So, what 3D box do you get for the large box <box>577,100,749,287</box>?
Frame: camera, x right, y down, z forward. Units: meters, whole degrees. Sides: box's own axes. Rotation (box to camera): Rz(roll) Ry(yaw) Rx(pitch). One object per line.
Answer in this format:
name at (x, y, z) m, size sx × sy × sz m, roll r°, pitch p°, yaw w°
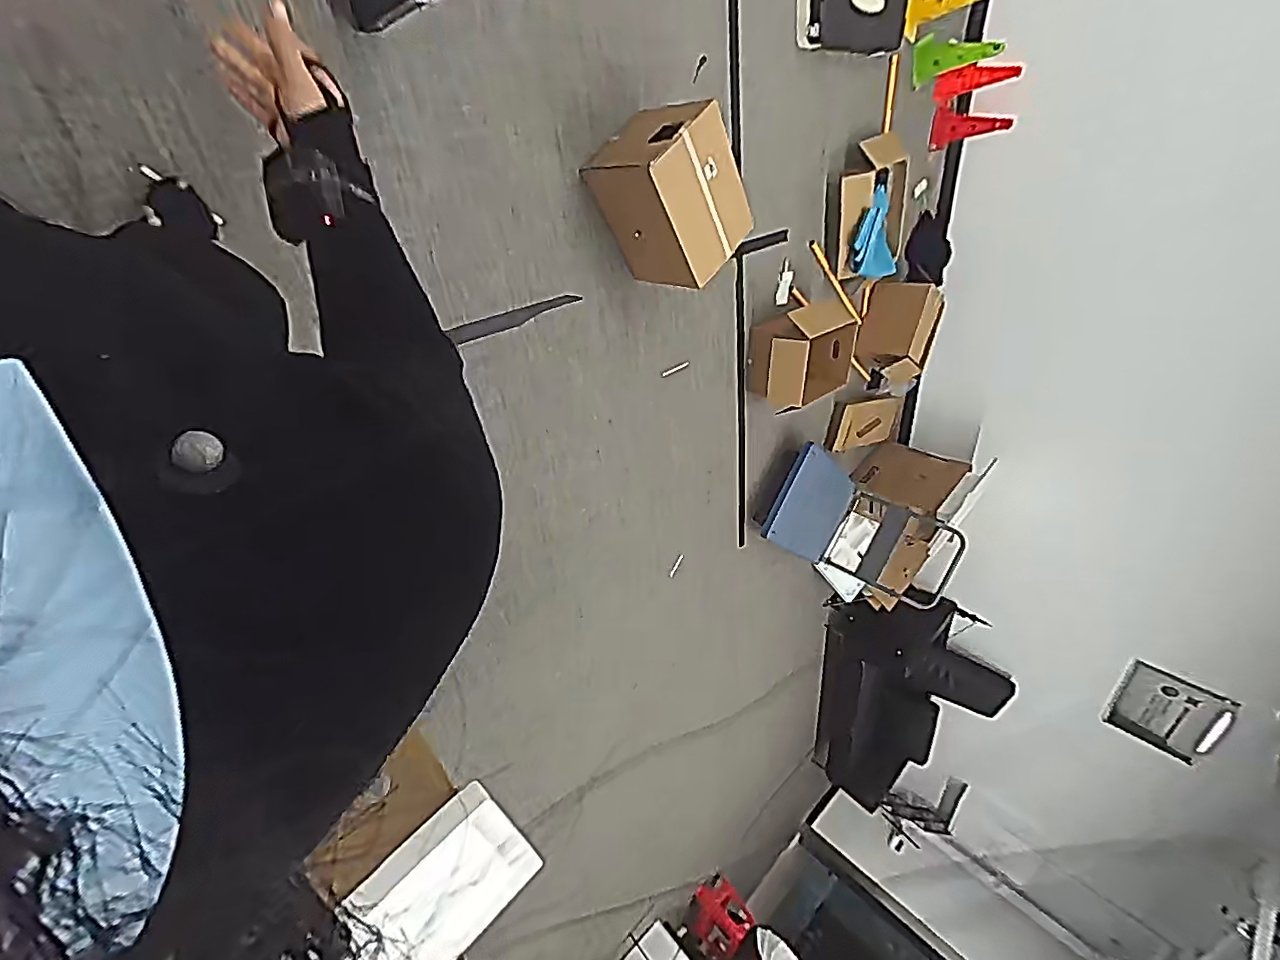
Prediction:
large box at (0.081, -0.876, 1.695) m, size 0.320 × 0.320 × 0.408 m, roll -53°, pitch 137°, yaw -14°
